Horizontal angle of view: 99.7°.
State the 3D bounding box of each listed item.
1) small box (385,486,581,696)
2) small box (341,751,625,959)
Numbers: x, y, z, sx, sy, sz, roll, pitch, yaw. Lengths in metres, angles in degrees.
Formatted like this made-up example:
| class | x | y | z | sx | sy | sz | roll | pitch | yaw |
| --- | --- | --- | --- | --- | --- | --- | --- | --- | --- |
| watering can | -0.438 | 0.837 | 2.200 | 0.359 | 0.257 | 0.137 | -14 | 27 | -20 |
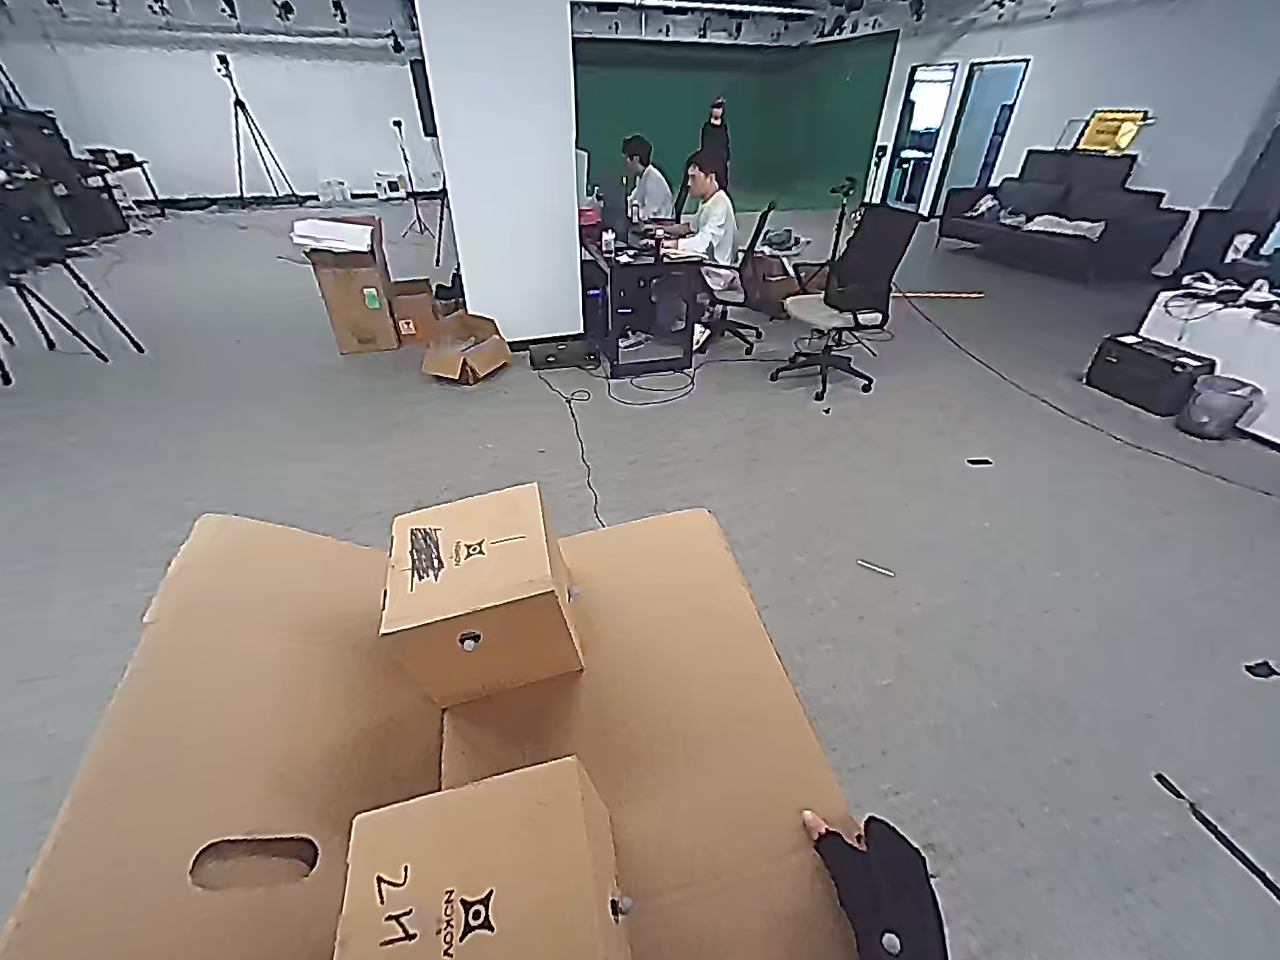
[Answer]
| class | x | y | z | sx | sy | sz | roll | pitch | yaw |
| --- | --- | --- | --- | --- | --- | --- | --- | --- | --- |
| small box | -0.181 | 0.138 | 0.661 | 0.179 | 0.176 | 0.168 | -14 | 44 | -6 |
| small box | -0.110 | 0.348 | 0.433 | 0.179 | 0.176 | 0.168 | -13 | 44 | -4 |
